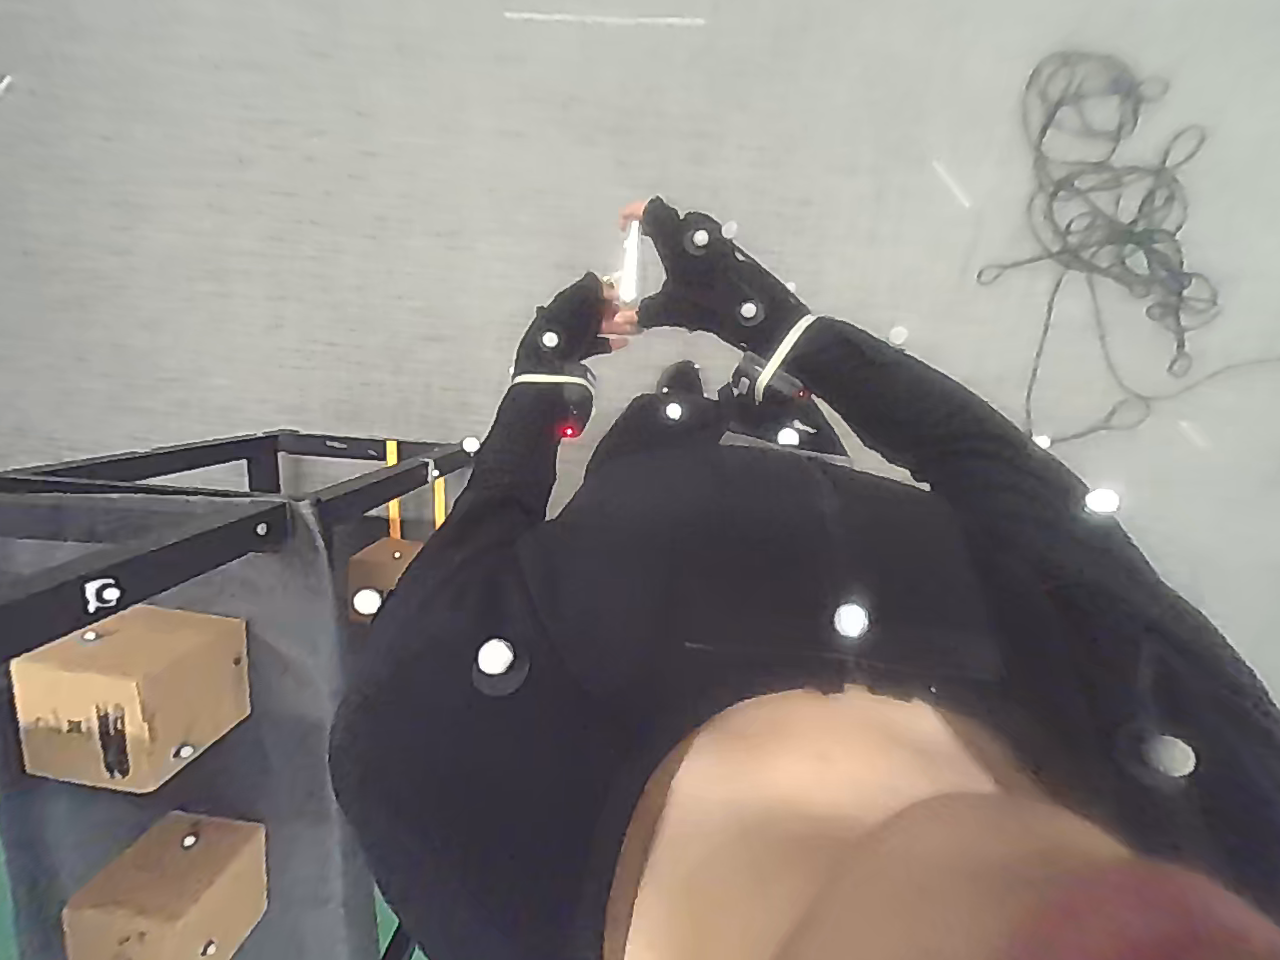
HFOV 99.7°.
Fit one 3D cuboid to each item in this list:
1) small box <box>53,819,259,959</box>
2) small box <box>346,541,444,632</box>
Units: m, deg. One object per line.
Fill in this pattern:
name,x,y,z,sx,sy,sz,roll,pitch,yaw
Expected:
small box,-0.716,0.664,0.821,0.168,0.176,0.179,7,101,2
small box,-0.615,0.264,1.371,0.179,0.176,0.168,8,102,2
